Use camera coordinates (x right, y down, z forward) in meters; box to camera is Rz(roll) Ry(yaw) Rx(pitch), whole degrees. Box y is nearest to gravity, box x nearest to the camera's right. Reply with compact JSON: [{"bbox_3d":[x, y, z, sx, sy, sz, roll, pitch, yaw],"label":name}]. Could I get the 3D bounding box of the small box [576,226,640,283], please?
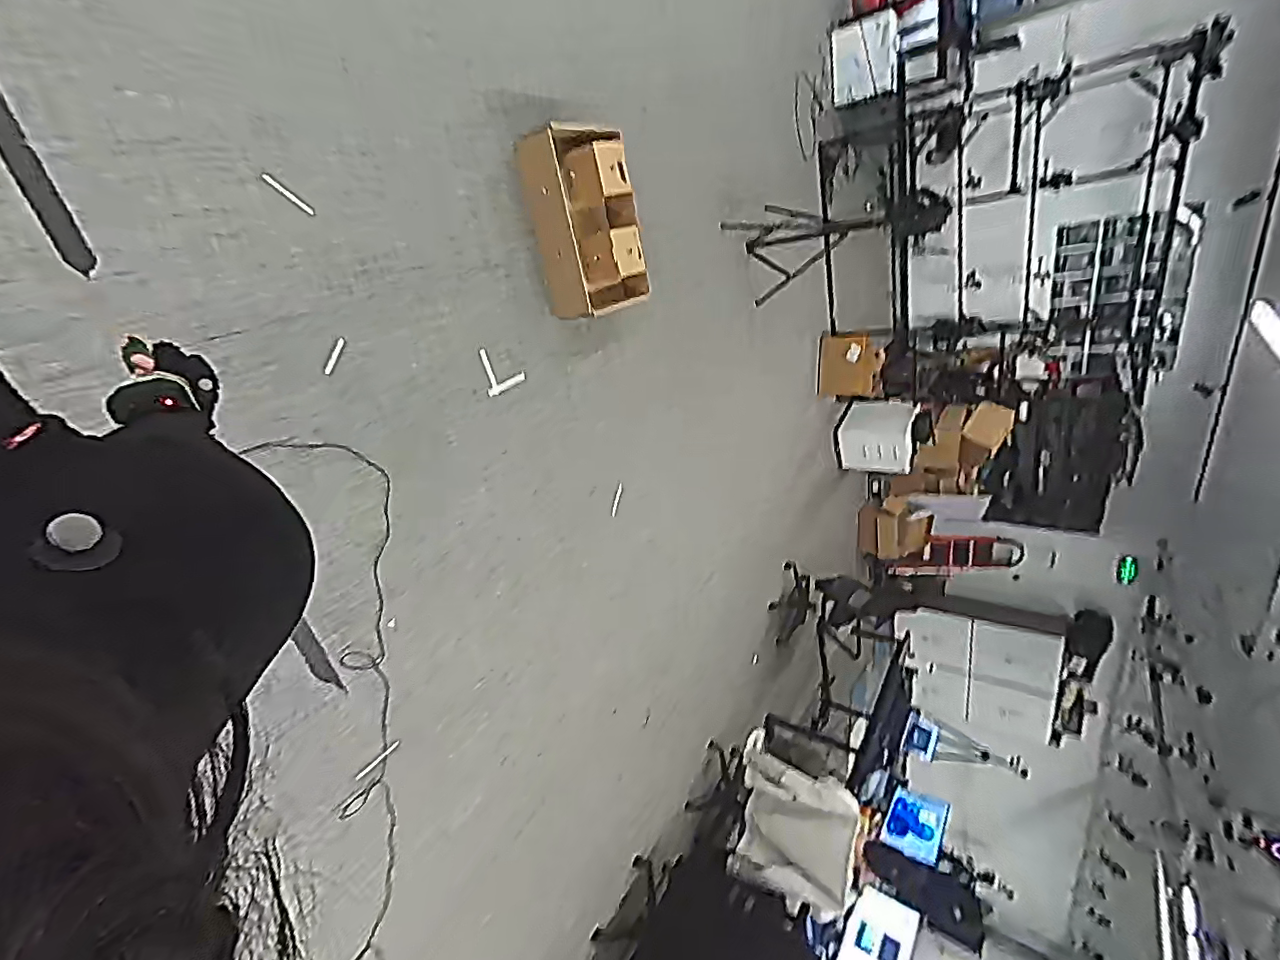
[{"bbox_3d":[-0.131,-0.881,2.117,0.179,0.176,0.168,-34,118,-44],"label":"small box"}]
